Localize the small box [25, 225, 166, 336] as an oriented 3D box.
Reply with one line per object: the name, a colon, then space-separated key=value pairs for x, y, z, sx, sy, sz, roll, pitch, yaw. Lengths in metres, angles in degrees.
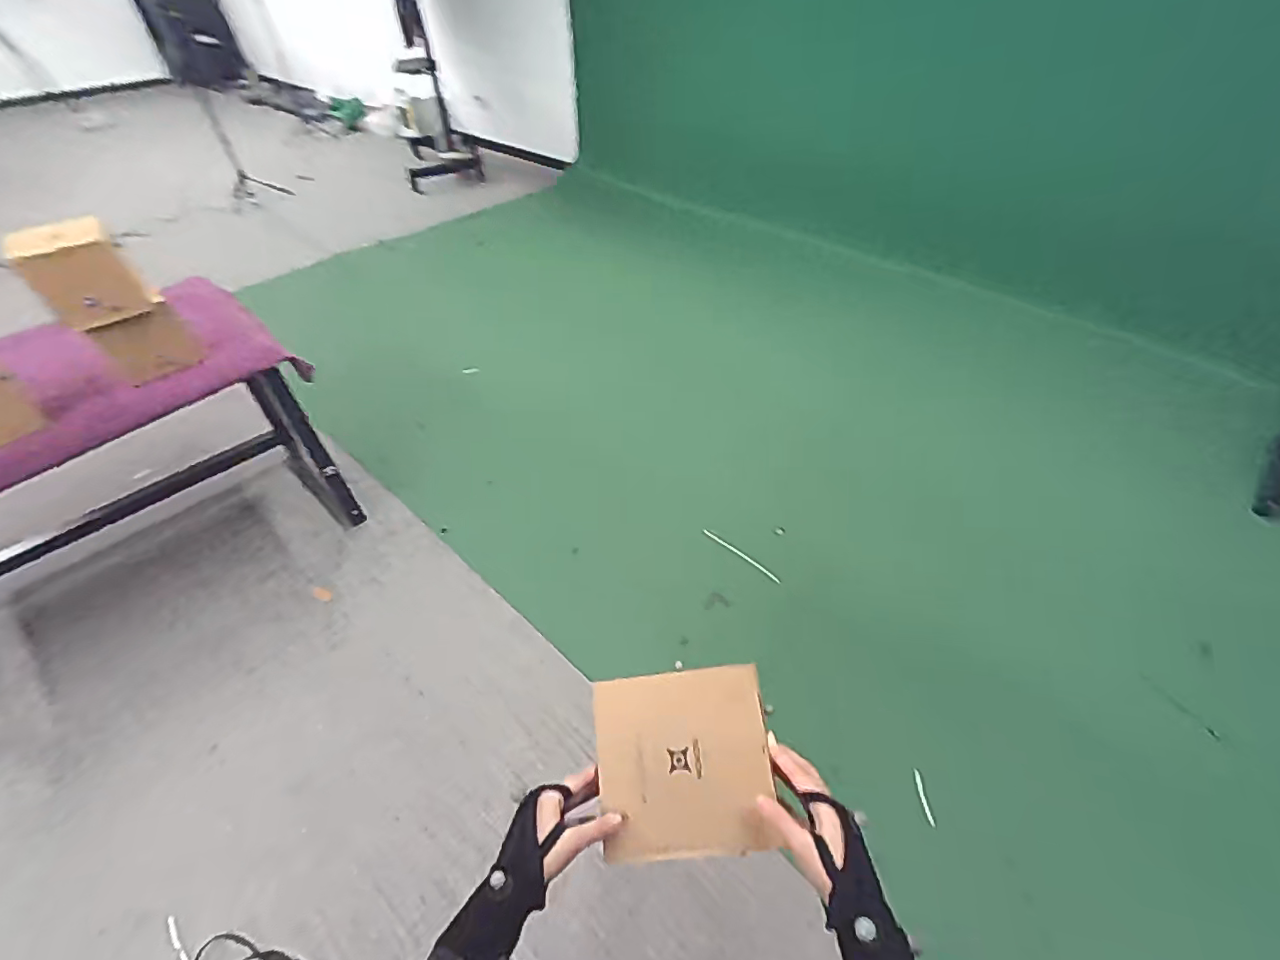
small box: x=-1.239 y=-0.457 z=1.239 sx=0.168 sy=0.176 sz=0.179 roll=-31 pitch=52 yaw=-25

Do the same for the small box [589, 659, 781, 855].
small box: x=0.049 y=0.300 z=0.605 sx=0.179 sy=0.176 sz=0.168 roll=-9 pitch=64 yaw=6

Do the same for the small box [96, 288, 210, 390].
small box: x=-1.239 y=-0.357 z=1.371 sx=0.168 sy=0.176 sz=0.179 roll=32 pitch=54 yaw=31
